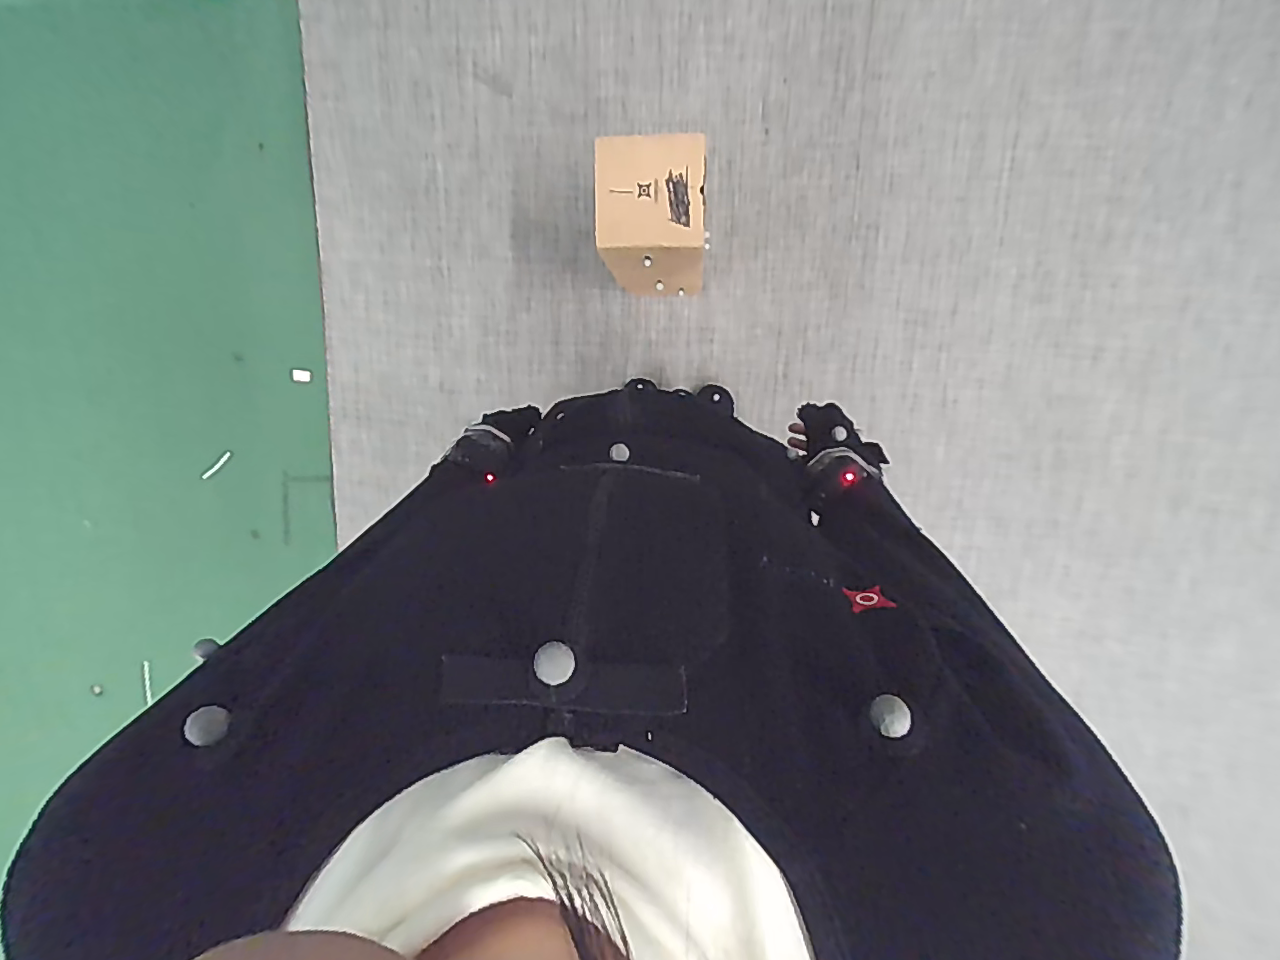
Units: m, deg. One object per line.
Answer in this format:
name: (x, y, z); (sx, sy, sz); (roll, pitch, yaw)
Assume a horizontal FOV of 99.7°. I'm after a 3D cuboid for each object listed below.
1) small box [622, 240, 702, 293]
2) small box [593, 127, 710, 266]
small box: (0.055, -0.533, 1.250); (0.179, 0.176, 0.168); (2, 100, 6)
small box: (0.021, -0.473, 0.926); (0.179, 0.176, 0.168); (4, 99, 4)
